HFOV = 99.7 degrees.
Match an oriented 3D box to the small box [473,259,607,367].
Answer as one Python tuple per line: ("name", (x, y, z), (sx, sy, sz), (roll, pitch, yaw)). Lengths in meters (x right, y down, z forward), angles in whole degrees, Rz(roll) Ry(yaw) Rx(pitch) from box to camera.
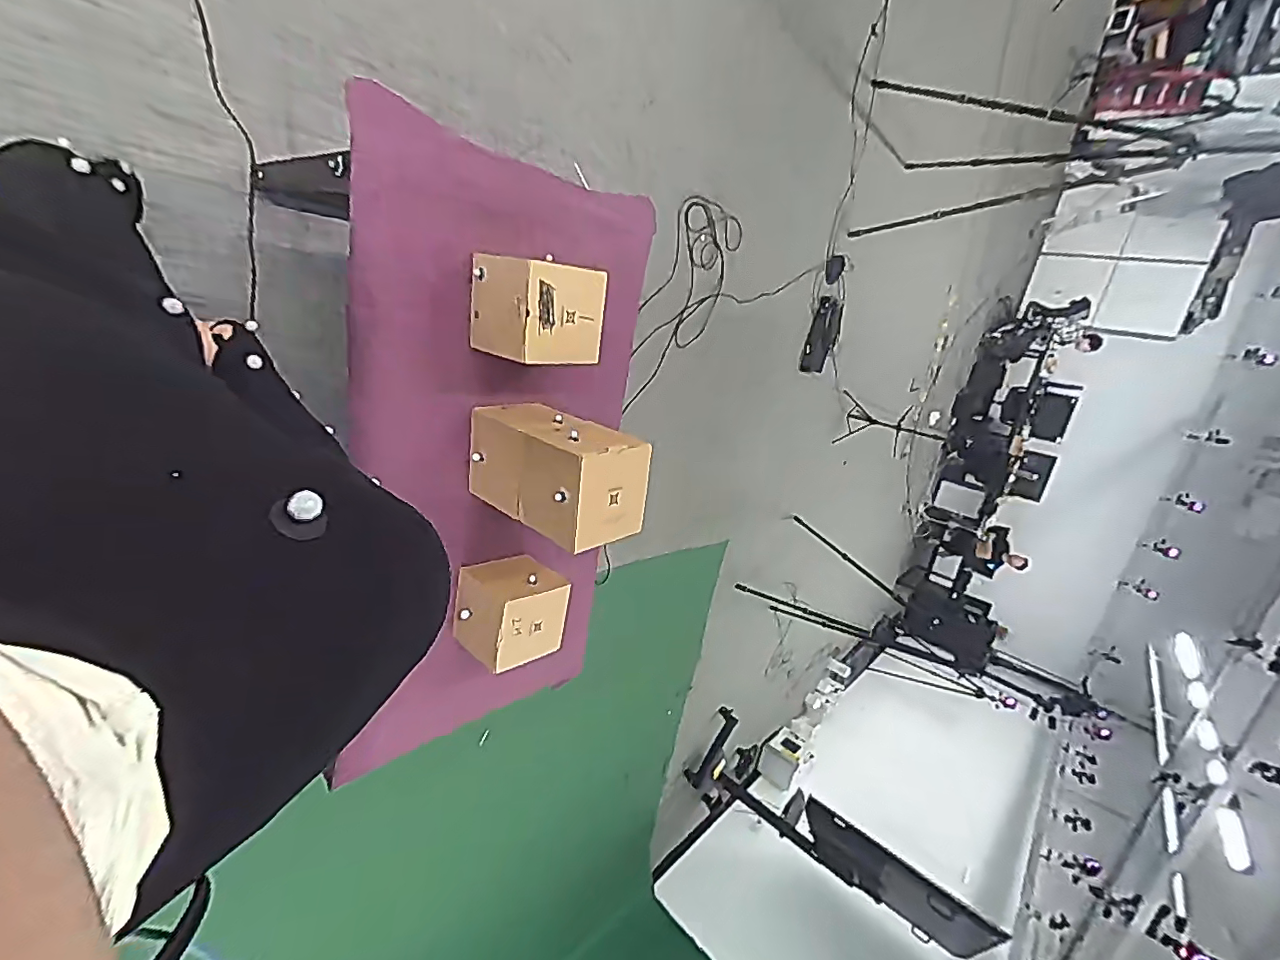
("small box", (-0.186, -0.303, 0.987), (0.179, 0.176, 0.168), (-13, 118, -47))

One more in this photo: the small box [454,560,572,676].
("small box", (-0.278, 0.288, 1.178), (0.179, 0.176, 0.168), (-5, 111, -49))

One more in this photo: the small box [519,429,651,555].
("small box", (-0.103, 0.009, 0.979), (0.168, 0.176, 0.179), (-13, 117, -45))

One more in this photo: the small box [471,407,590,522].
("small box", (-0.222, -0.039, 1.080), (0.168, 0.176, 0.179), (-13, 118, -47))
